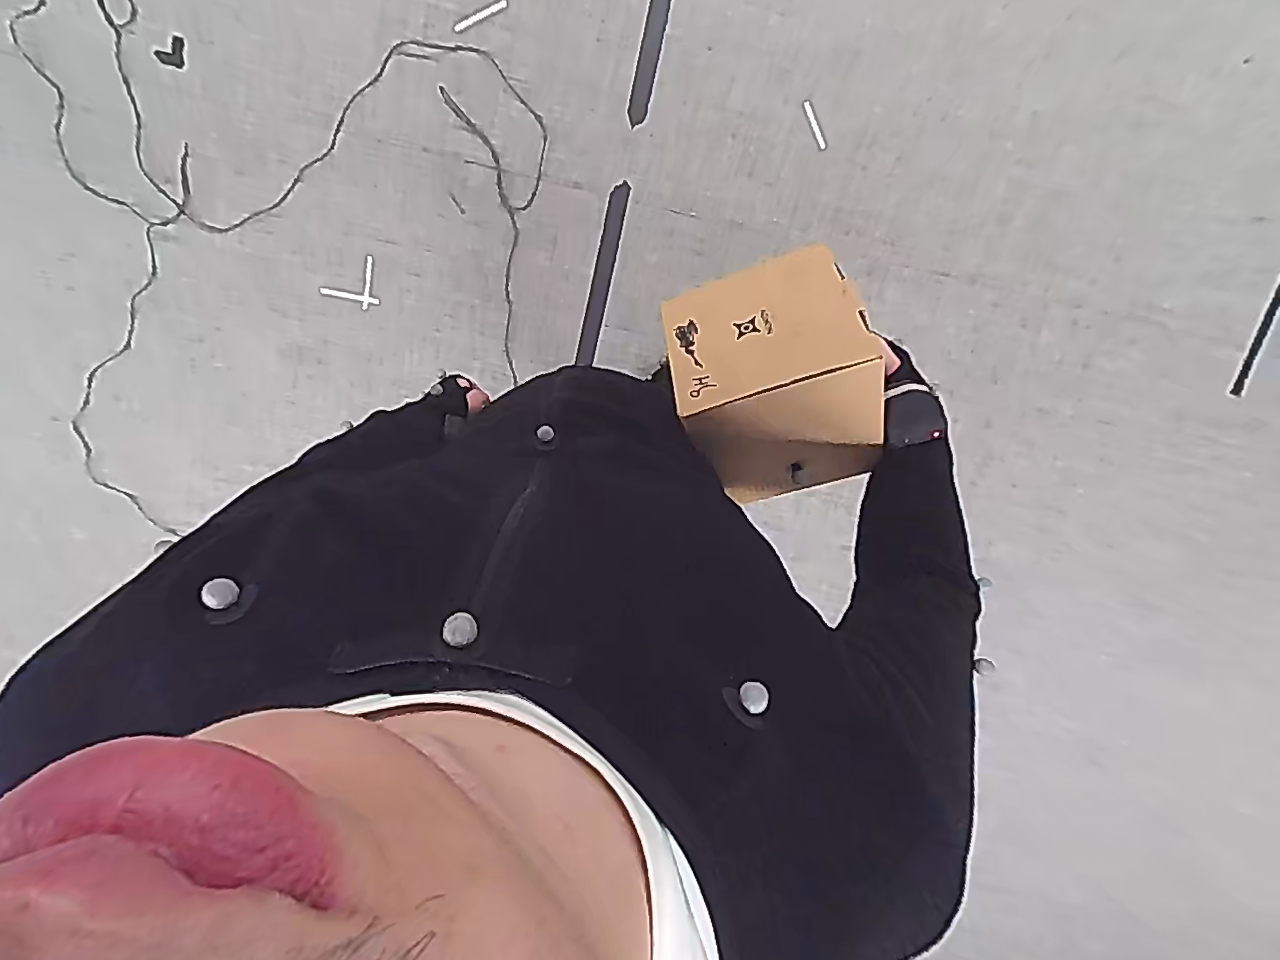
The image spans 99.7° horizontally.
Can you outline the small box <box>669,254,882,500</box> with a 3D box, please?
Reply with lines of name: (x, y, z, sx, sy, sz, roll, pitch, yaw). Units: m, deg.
small box: (0.144, -0.101, 0.584, 0.179, 0.168, 0.176, -15, 142, 13)
